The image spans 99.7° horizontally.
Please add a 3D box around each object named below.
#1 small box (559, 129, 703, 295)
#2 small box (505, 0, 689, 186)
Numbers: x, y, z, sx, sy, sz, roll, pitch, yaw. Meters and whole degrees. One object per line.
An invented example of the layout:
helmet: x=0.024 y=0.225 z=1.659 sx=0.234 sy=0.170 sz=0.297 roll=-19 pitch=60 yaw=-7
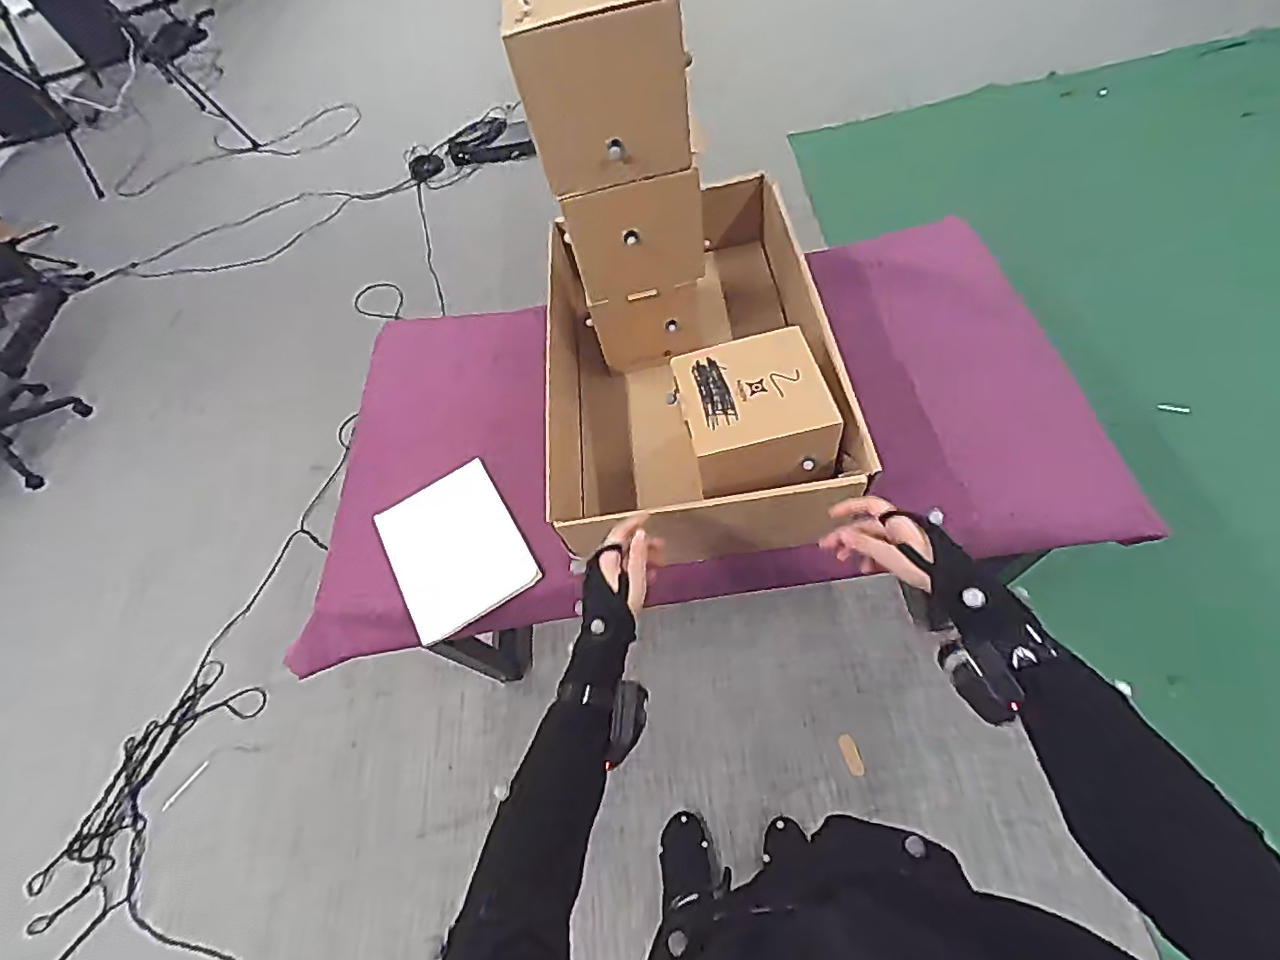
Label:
small box: x=-0.011 y=-0.389 z=0.754 sx=0.179 sy=0.176 sz=0.168 roll=-11 pitch=60 yaw=4
small box: x=-0.039 y=-0.470 z=0.614 sx=0.179 sy=0.176 sz=0.168 roll=-9 pitch=60 yaw=4
